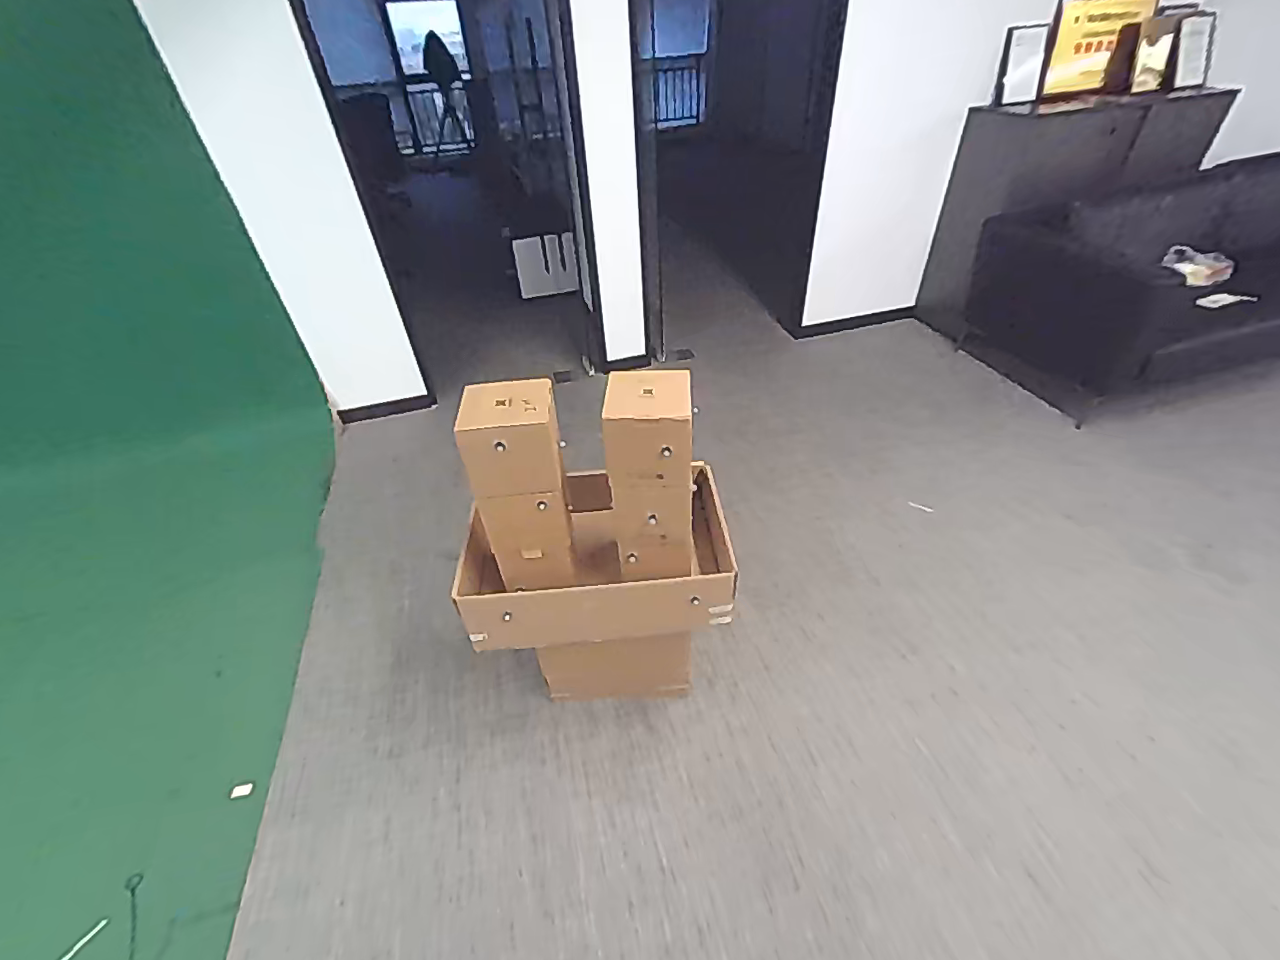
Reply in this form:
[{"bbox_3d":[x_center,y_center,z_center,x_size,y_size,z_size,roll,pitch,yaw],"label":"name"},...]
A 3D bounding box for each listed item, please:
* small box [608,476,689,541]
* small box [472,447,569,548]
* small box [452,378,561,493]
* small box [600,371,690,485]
[{"bbox_3d":[0.025,0.020,1.199,0.168,0.176,0.179,0,41,3],"label":"small box"},{"bbox_3d":[-0.257,0.037,1.200,0.179,0.176,0.168,-4,41,-4],"label":"small box"},{"bbox_3d":[-0.259,-0.087,1.091,0.179,0.176,0.168,-5,41,-4],"label":"small box"},{"bbox_3d":[0.018,-0.104,1.093,0.168,0.176,0.179,1,40,4],"label":"small box"}]
